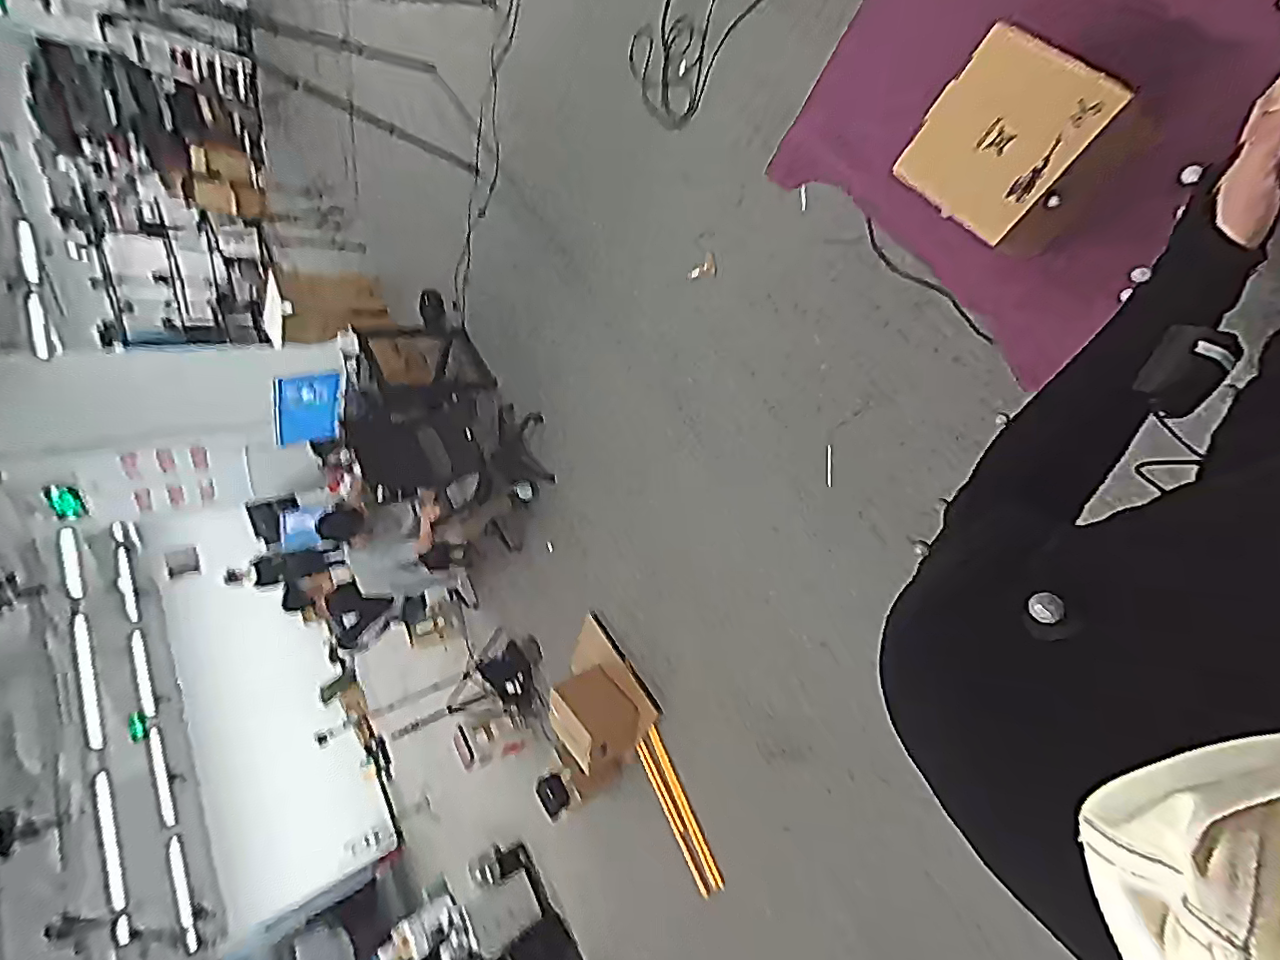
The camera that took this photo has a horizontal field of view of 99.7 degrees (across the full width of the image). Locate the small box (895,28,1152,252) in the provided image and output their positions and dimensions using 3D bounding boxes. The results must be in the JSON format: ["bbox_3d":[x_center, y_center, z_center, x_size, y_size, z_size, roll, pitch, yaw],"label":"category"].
[{"bbox_3d":[0.470,-0.404,0.671,0.179,0.176,0.168,56,138,24],"label":"small box"}]
